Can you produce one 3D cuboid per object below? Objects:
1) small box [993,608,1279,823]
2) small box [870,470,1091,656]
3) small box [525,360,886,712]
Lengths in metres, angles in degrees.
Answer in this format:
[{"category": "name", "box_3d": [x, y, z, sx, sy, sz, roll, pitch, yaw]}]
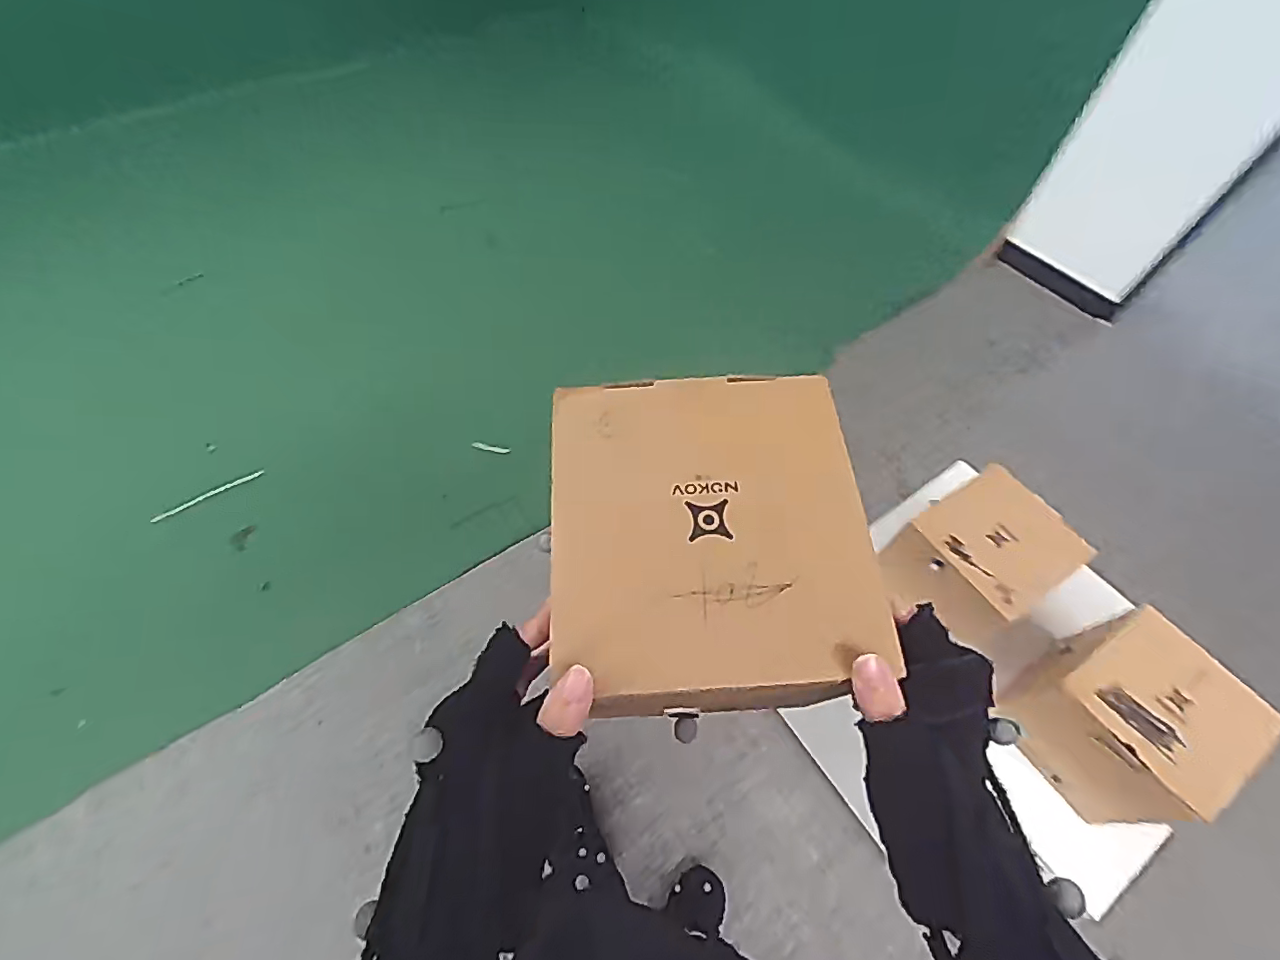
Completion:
[{"category": "small box", "box_3d": [0.583, 0.295, 0.668, 0.179, 0.176, 0.168, -28, 62, -17]}, {"category": "small box", "box_3d": [0.470, 0.122, 0.777, 0.179, 0.176, 0.168, -27, 61, -17]}, {"category": "small box", "box_3d": [0.024, 0.045, 0.350, 0.168, 0.176, 0.179, -3, 63, -2]}]
